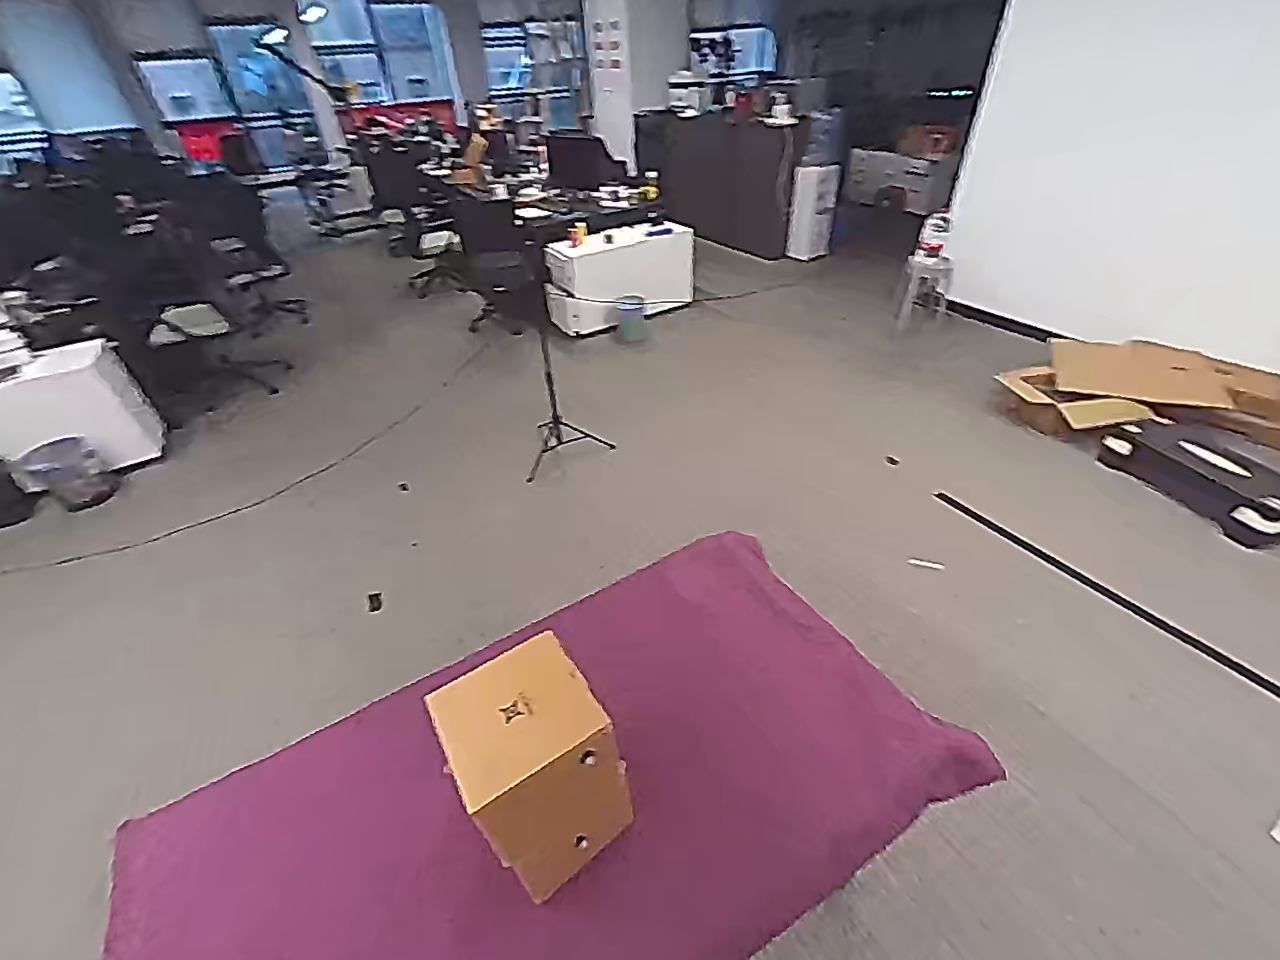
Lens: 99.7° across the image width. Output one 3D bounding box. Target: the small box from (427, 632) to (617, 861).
[{"bbox_3d":[-0.145,0.342,0.700,0.179,0.176,0.168,-24,42,-24],"label":"small box"}]
